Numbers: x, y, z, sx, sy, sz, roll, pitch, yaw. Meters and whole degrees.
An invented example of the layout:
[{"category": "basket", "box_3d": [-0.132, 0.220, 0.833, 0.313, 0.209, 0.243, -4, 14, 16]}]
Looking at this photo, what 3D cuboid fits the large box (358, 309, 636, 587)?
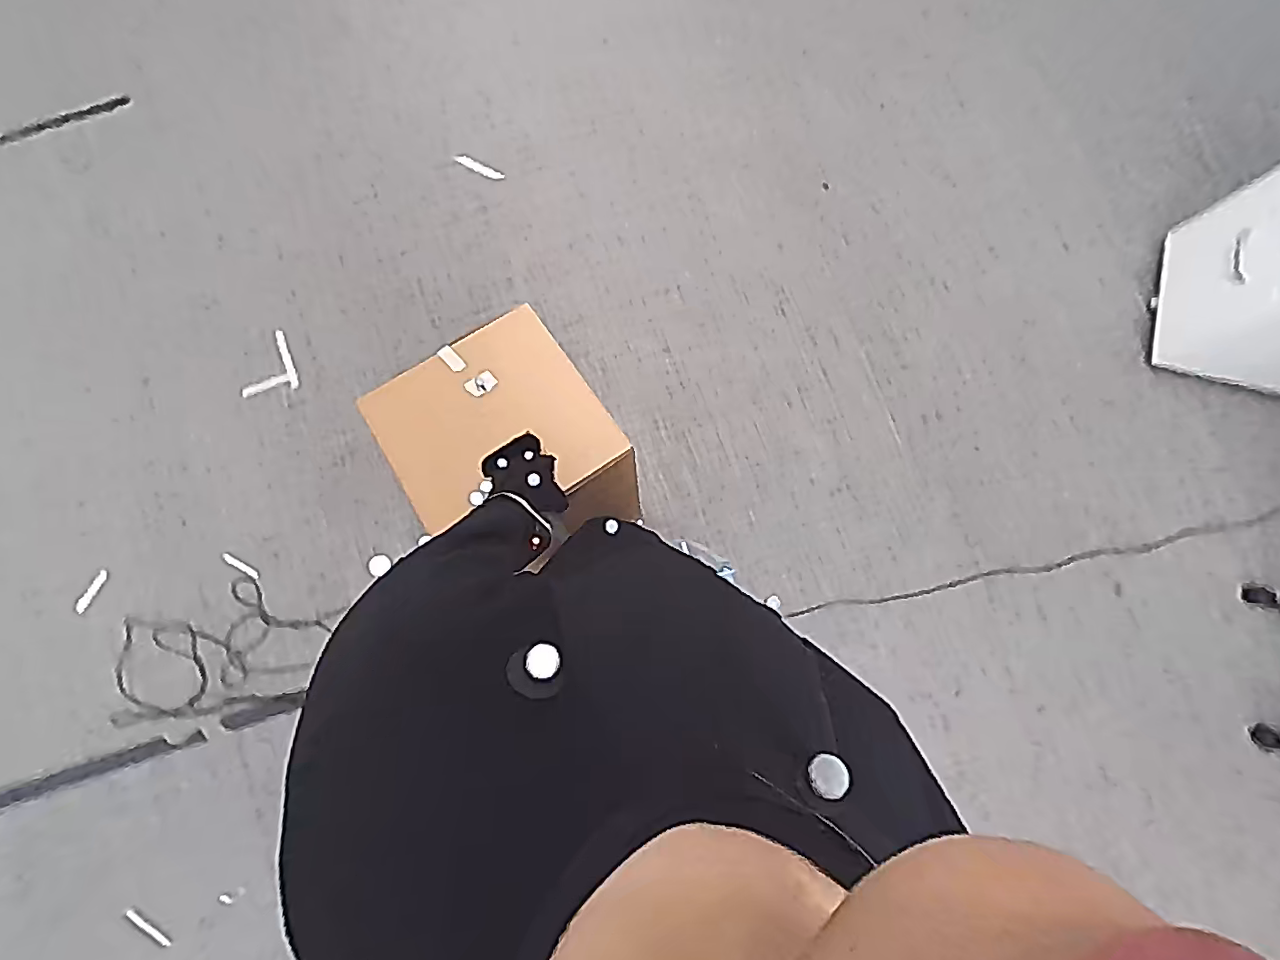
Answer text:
[{"category": "large box", "box_3d": [-0.228, -0.031, 1.007, 0.320, 0.408, 0.320, -33, 74, -8]}]
